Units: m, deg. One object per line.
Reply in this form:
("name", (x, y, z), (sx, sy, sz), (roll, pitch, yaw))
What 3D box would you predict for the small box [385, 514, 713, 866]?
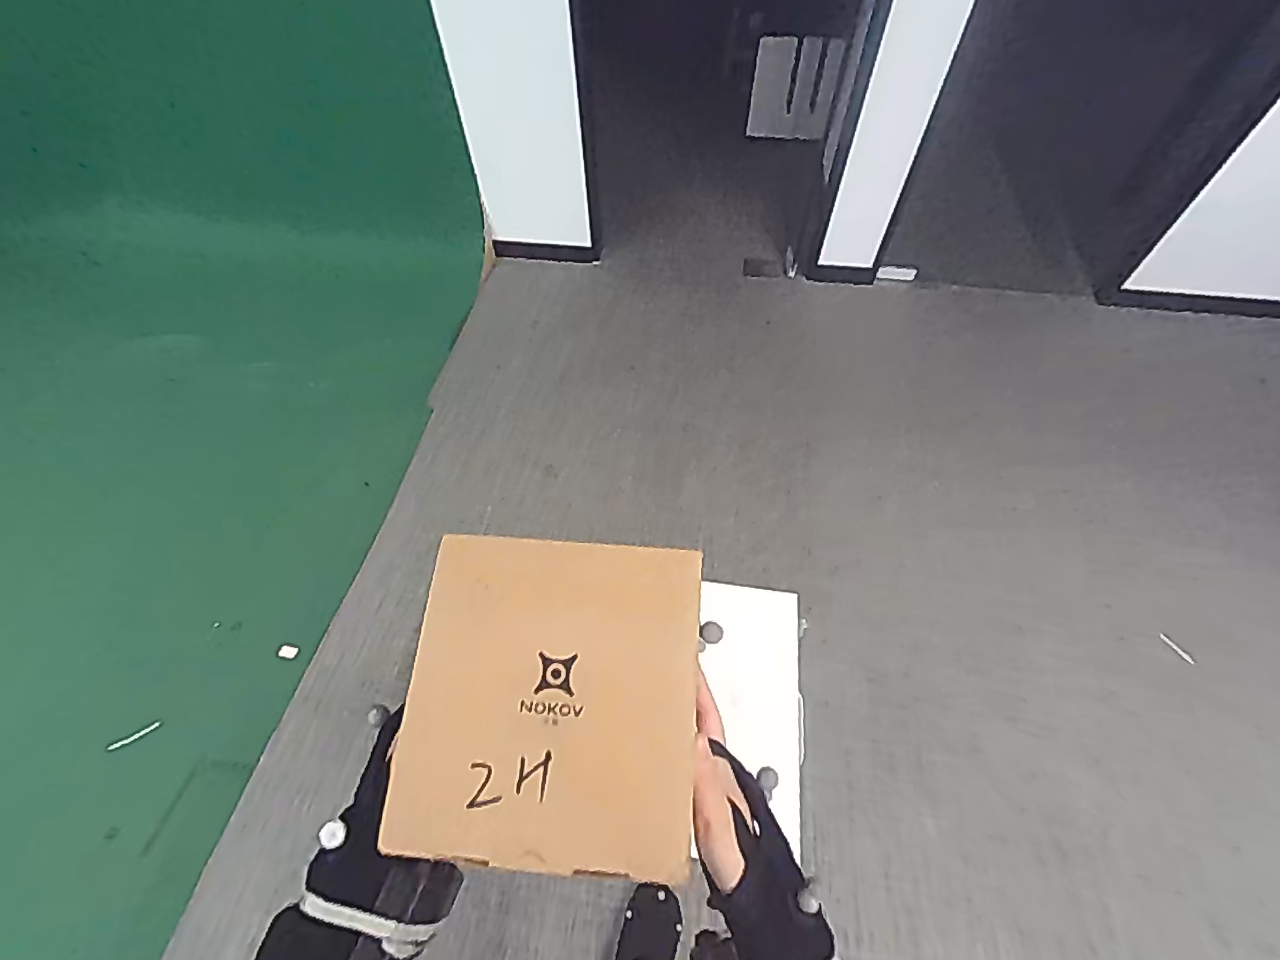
("small box", (-0.042, 0.137, 0.379), (0.168, 0.176, 0.179), (4, 68, 3))
